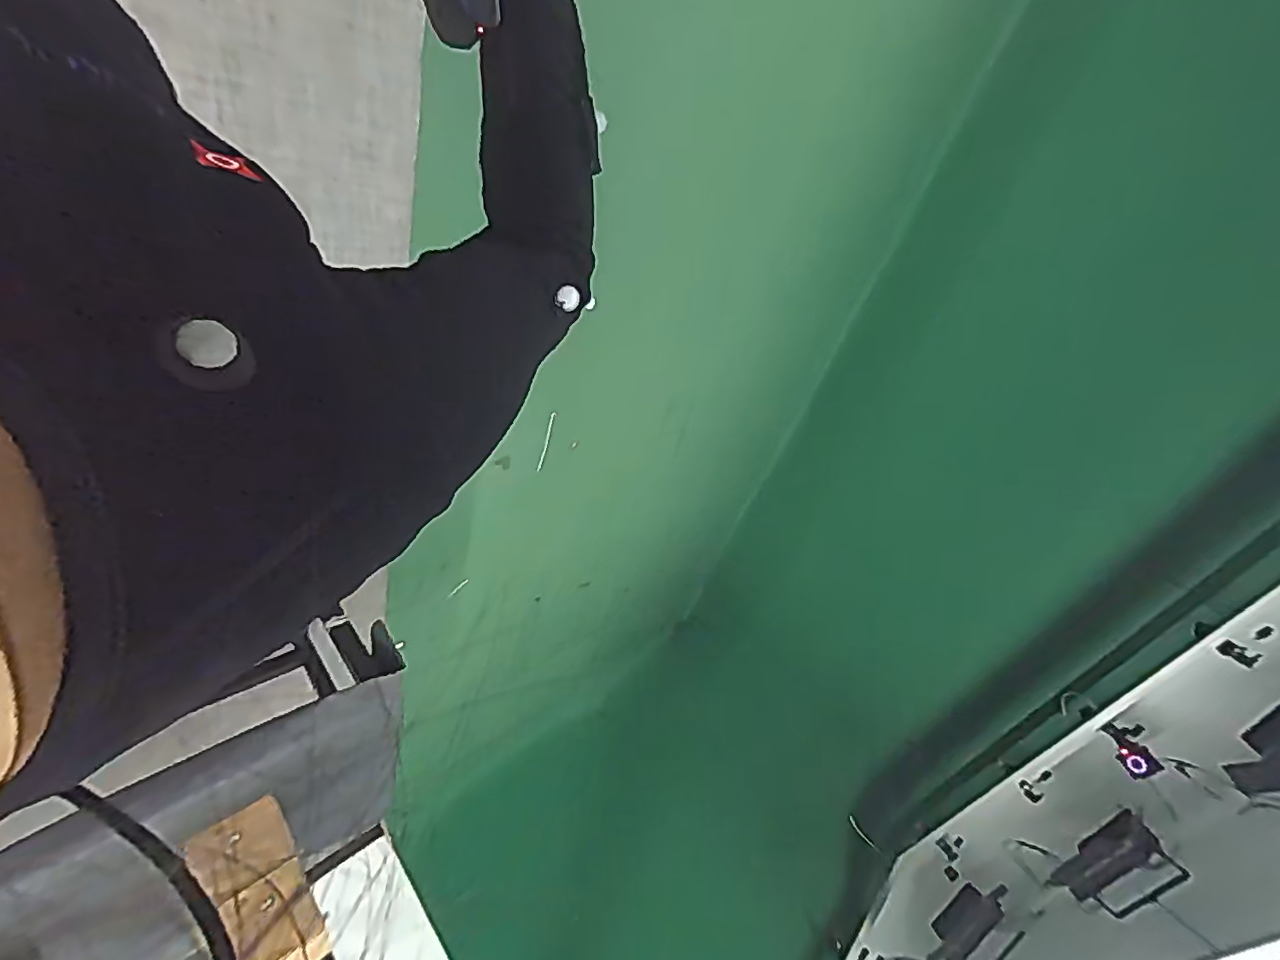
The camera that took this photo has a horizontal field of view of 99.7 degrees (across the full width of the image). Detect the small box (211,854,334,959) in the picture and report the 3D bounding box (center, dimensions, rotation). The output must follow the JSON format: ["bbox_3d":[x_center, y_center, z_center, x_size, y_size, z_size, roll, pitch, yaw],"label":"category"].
[{"bbox_3d":[-0.770,0.939,1.140,0.168,0.176,0.179,-21,142,-40],"label":"small box"}]

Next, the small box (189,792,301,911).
[{"bbox_3d":[-0.880,0.850,1.221,0.168,0.176,0.179,-23,143,-40],"label":"small box"}]
